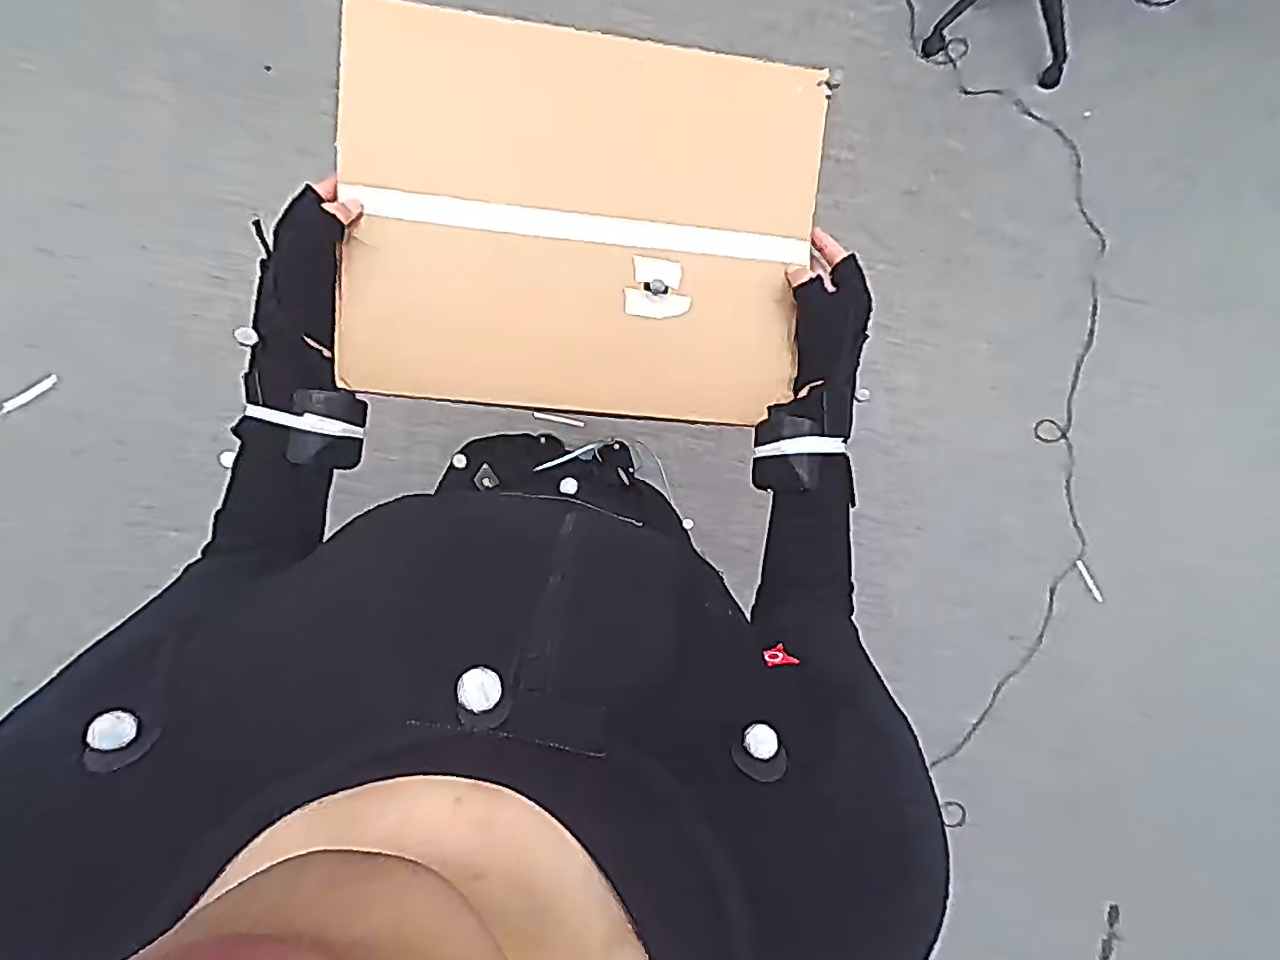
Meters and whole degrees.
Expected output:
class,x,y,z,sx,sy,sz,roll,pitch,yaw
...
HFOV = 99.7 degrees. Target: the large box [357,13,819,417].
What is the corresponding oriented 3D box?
class,x,y,z,sx,sy,sz,roll,pitch,yaw
large box,-0.062,-0.241,0.629,0.408,0.320,0.320,4,98,-7
